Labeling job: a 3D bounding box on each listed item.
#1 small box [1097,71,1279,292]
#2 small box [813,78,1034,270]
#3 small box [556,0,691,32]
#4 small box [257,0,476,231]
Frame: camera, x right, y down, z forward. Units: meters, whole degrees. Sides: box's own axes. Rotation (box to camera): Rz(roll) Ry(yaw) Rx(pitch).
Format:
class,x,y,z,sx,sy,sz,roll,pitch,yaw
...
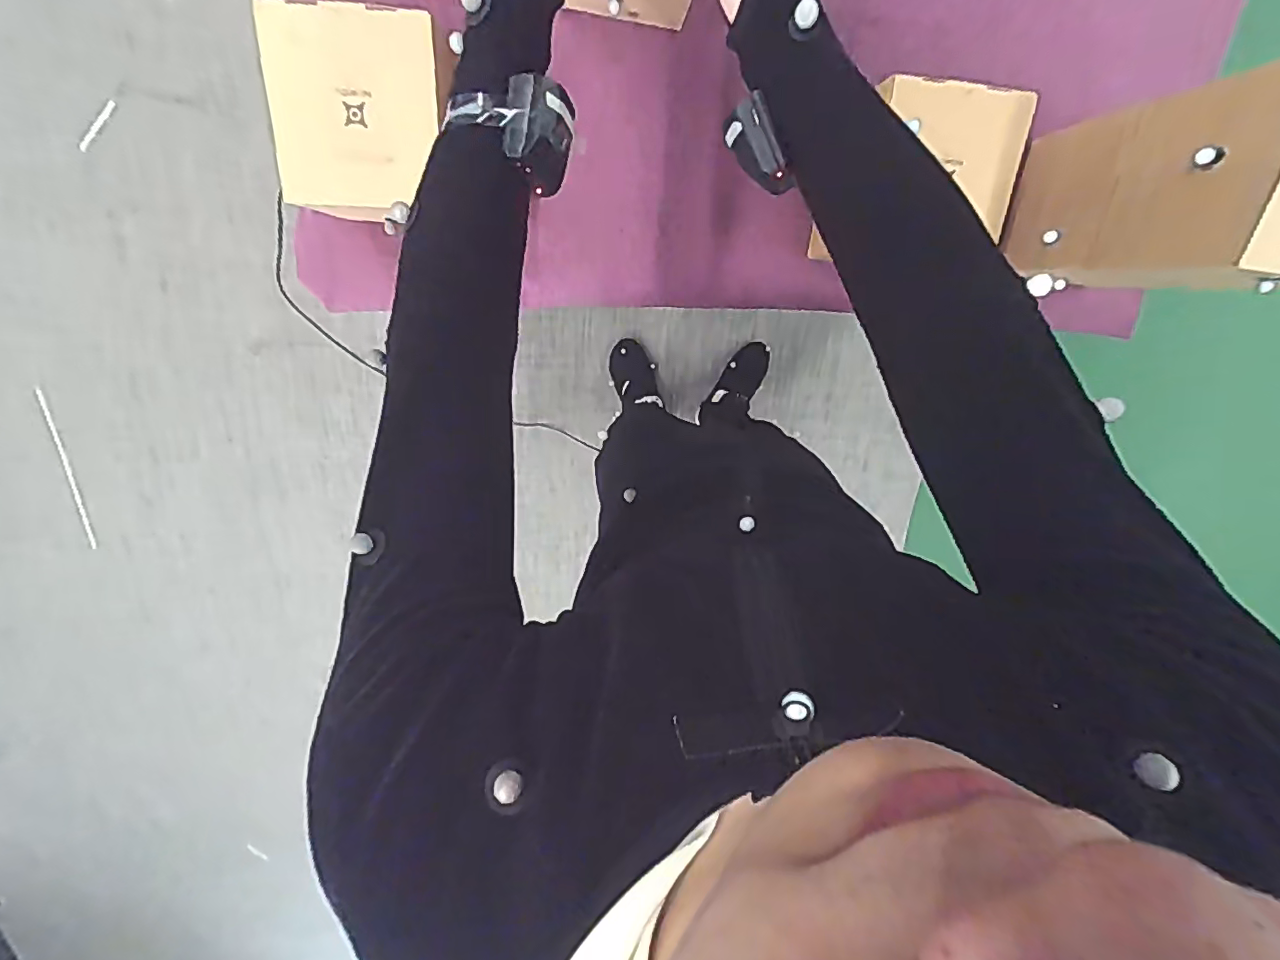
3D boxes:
class,x,y,z,sx,sy,sz,roll,pitch,yaw
small box,0.627,-0.293,0.548,0.168,0.176,0.179,5,108,-5
small box,0.333,-0.364,0.678,0.168,0.176,0.179,3,108,-5
small box,-0.012,-0.614,0.557,0.168,0.176,0.179,6,110,-6
small box,-0.290,-0.393,0.616,0.168,0.176,0.179,1,109,-5
